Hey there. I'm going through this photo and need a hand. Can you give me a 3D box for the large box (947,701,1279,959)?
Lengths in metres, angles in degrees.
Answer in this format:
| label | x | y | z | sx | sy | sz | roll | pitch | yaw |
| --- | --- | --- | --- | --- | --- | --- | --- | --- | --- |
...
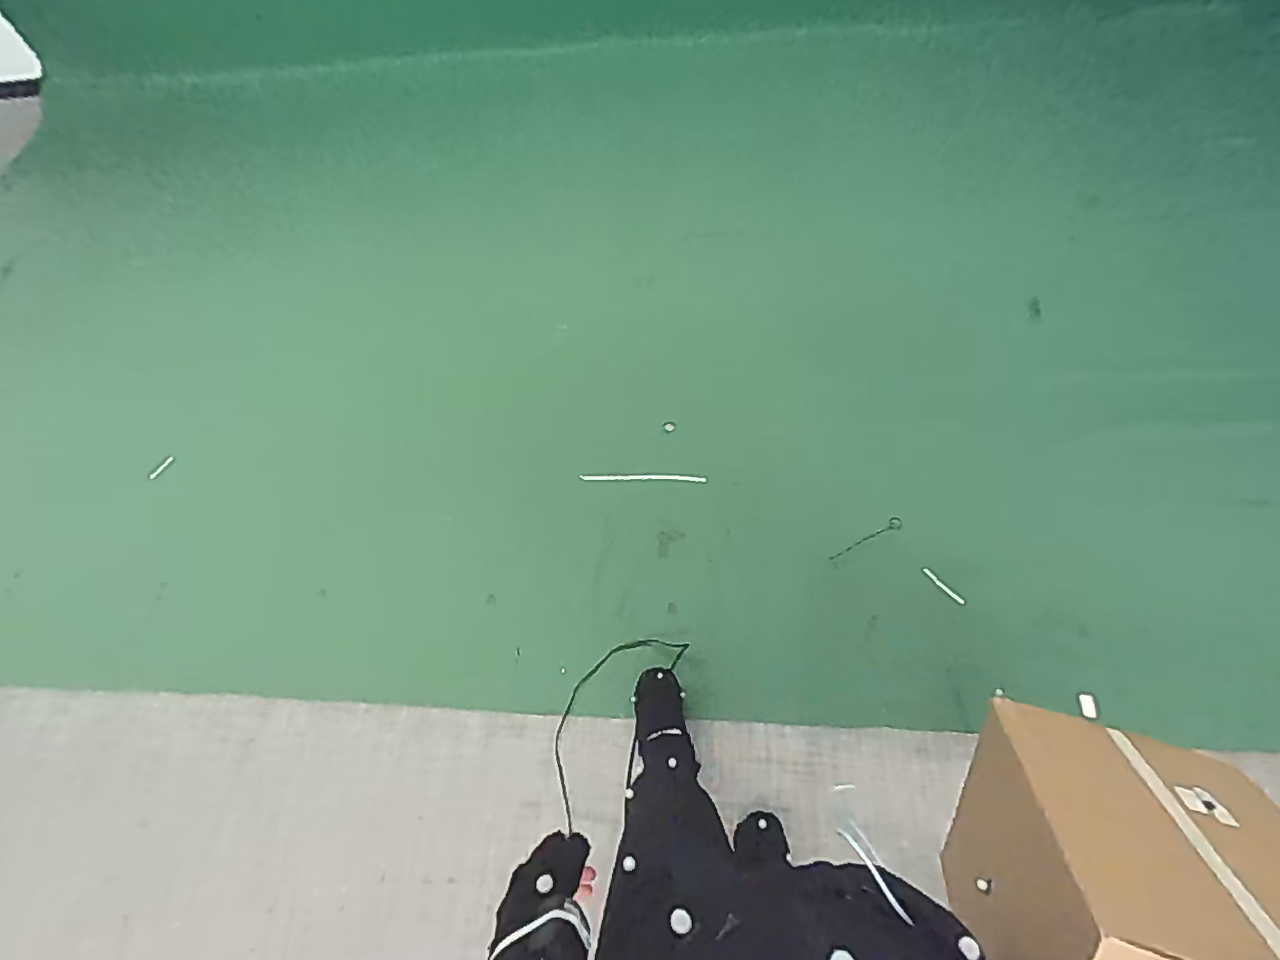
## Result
| label | x | y | z | sx | sy | sz | roll | pitch | yaw |
| --- | --- | --- | --- | --- | --- | --- | --- | --- | --- |
| large box | 0.610 | 0.553 | 0.656 | 0.320 | 0.408 | 0.320 | 12 | 103 | 18 |
